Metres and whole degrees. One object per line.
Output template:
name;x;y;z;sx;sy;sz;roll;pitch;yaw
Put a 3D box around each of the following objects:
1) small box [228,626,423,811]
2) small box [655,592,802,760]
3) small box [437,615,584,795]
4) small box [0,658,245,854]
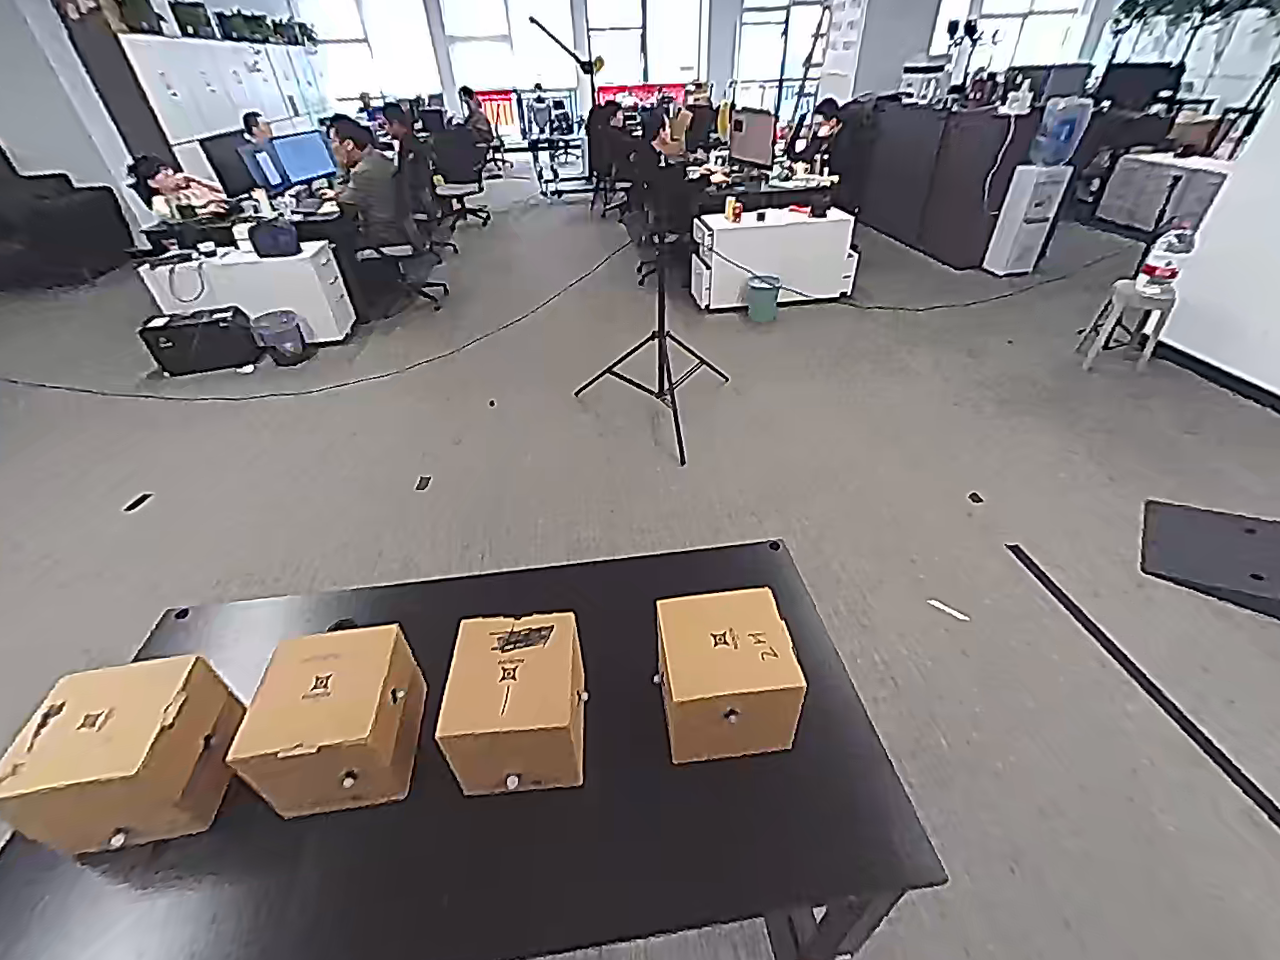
small box;-0.418;0.337;0.760;0.168;0.176;0.179;-6;37;-6
small box;0.119;0.289;0.796;0.179;0.176;0.168;-5;38;-4
small box;-0.170;0.318;0.772;0.168;0.176;0.179;-3;38;-2
small box;-0.676;0.368;0.727;0.179;0.176;0.168;-6;37;-8
